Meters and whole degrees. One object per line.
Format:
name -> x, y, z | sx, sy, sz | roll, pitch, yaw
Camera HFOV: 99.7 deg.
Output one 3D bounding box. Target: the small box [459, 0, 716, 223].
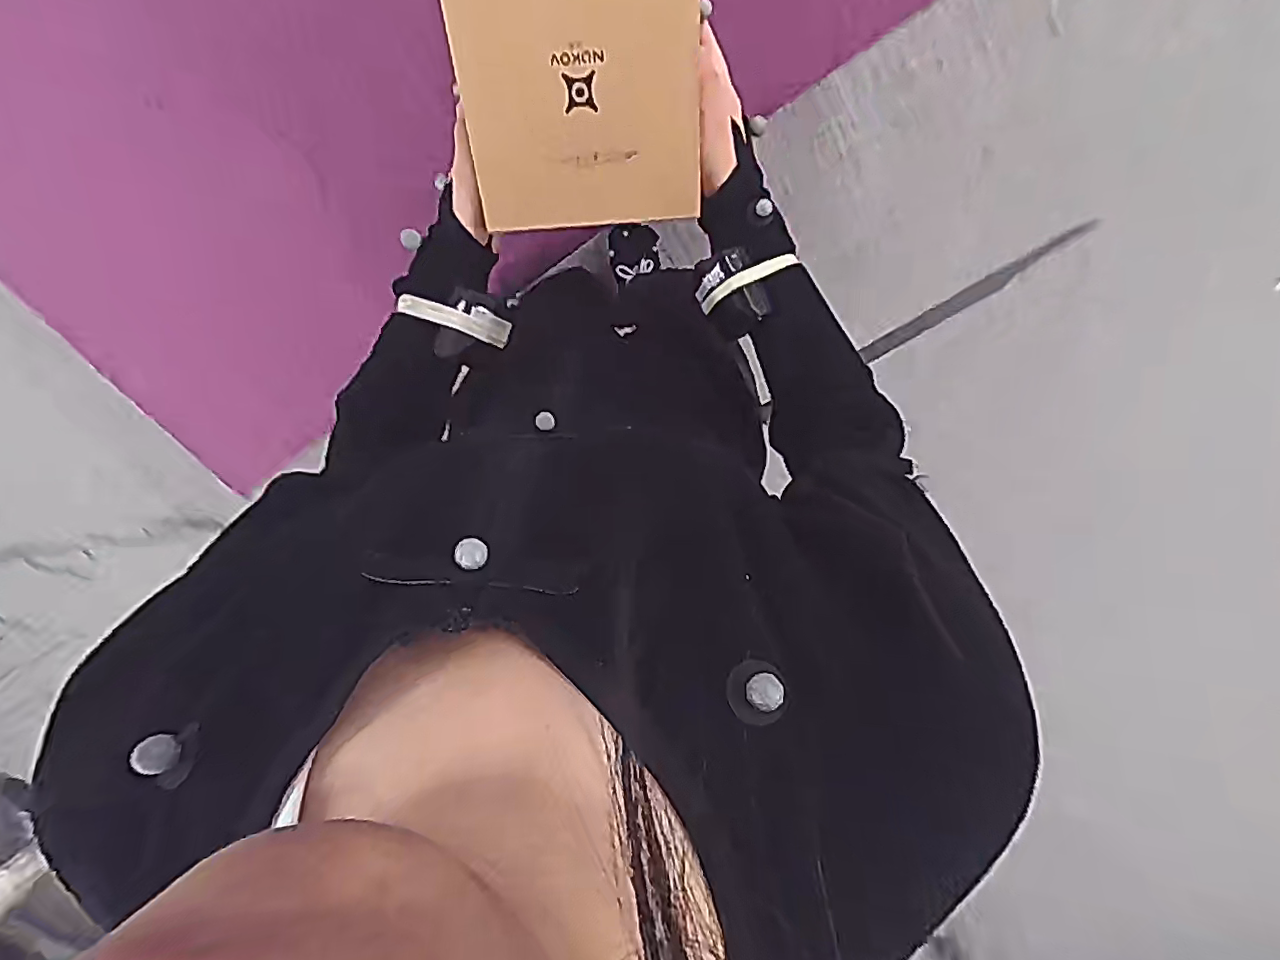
small box -> -0.033, -0.313, 0.430 | 0.168, 0.176, 0.179 | -1, 124, 1
